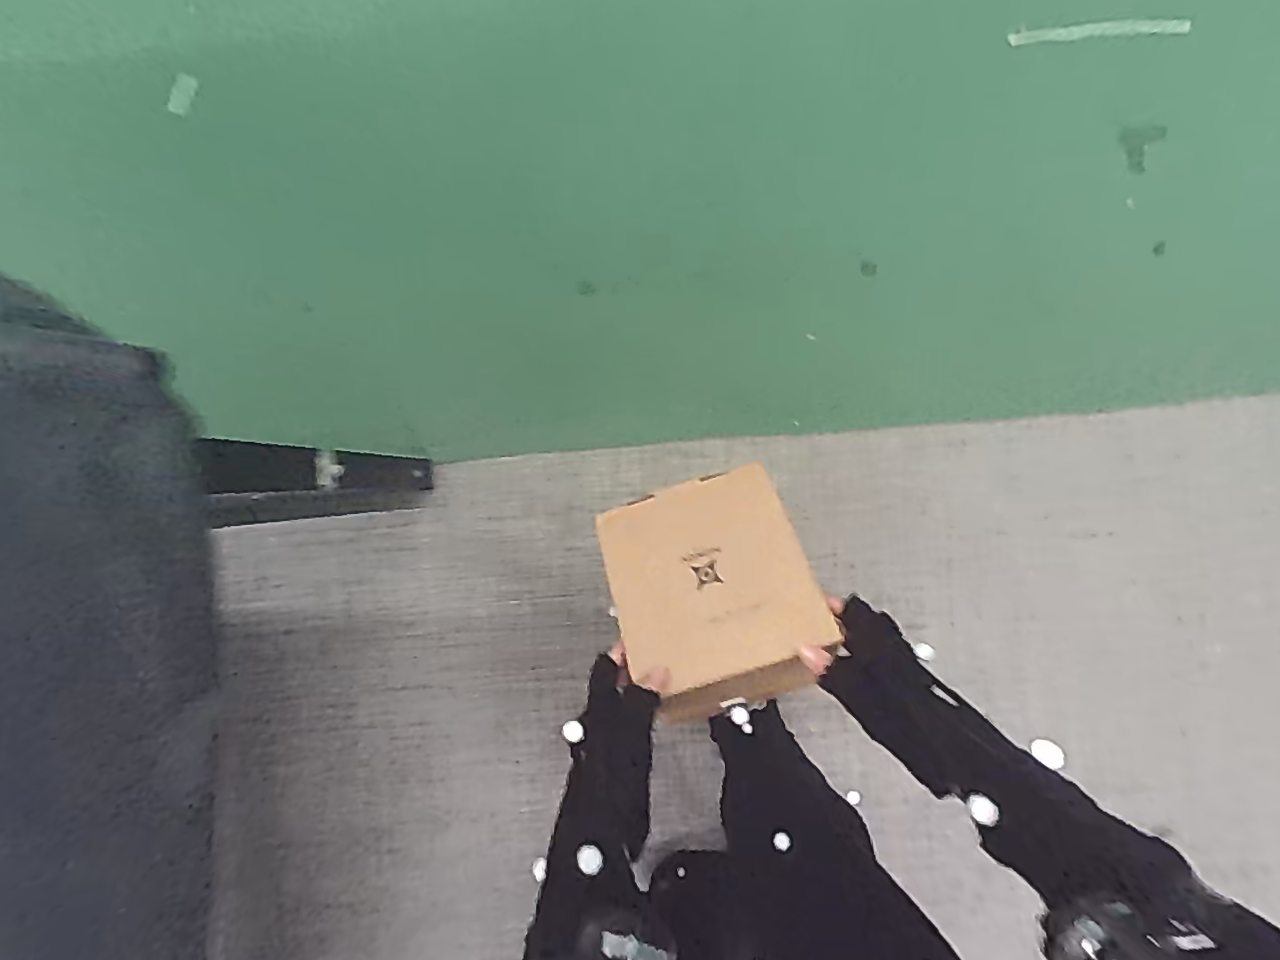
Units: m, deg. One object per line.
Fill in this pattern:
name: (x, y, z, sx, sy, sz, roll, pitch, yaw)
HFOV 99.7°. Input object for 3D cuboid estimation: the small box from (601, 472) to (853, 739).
small box: (0.076, 0.125, 0.511, 0.168, 0.176, 0.179, -19, 58, 3)
